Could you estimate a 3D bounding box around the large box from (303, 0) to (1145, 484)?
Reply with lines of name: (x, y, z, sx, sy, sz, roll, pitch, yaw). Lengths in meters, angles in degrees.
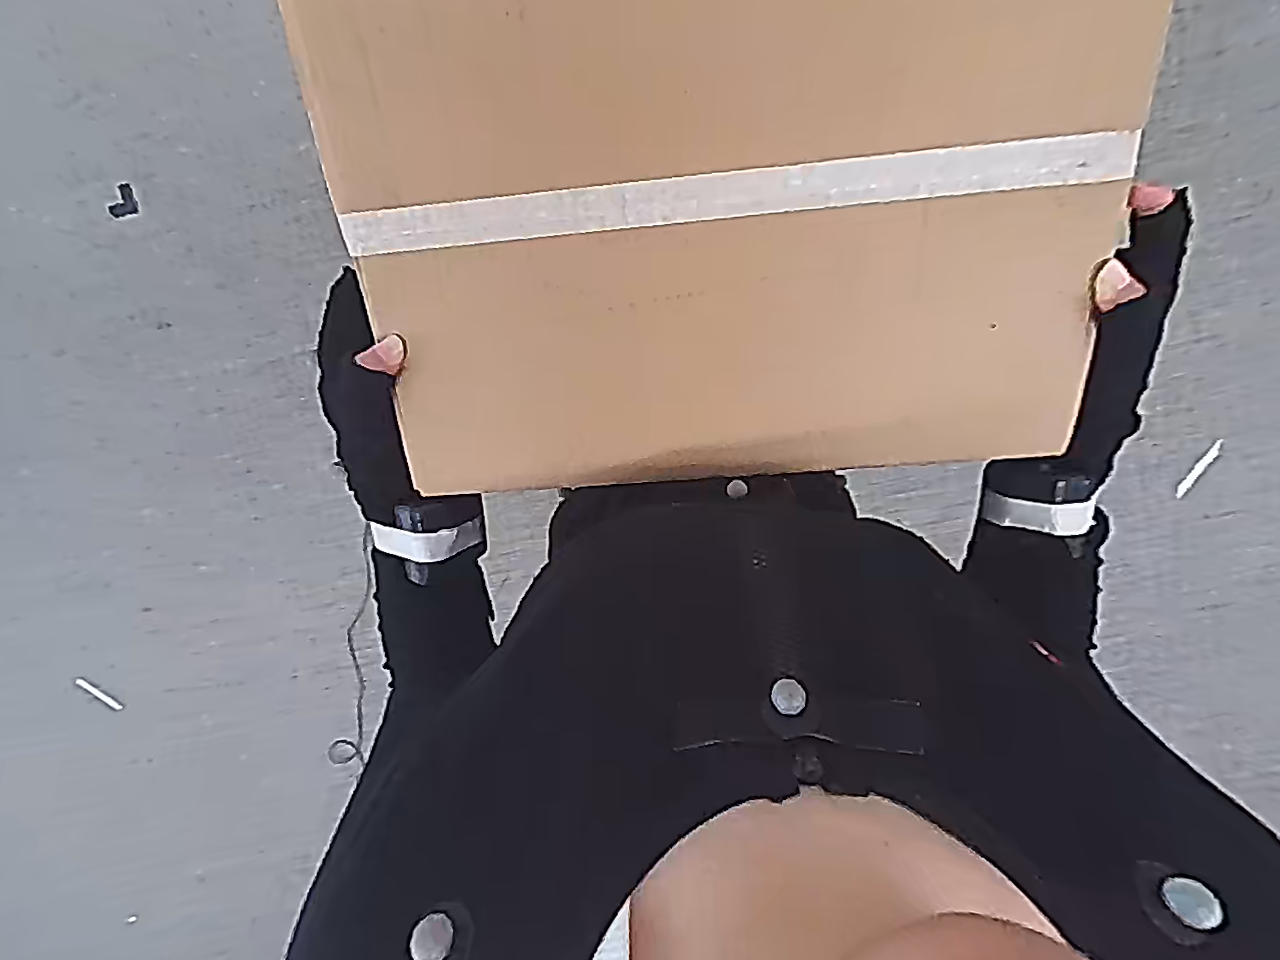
large box: (0.045, -0.209, 0.427, 0.408, 0.320, 0.320, -4, 114, 3)
